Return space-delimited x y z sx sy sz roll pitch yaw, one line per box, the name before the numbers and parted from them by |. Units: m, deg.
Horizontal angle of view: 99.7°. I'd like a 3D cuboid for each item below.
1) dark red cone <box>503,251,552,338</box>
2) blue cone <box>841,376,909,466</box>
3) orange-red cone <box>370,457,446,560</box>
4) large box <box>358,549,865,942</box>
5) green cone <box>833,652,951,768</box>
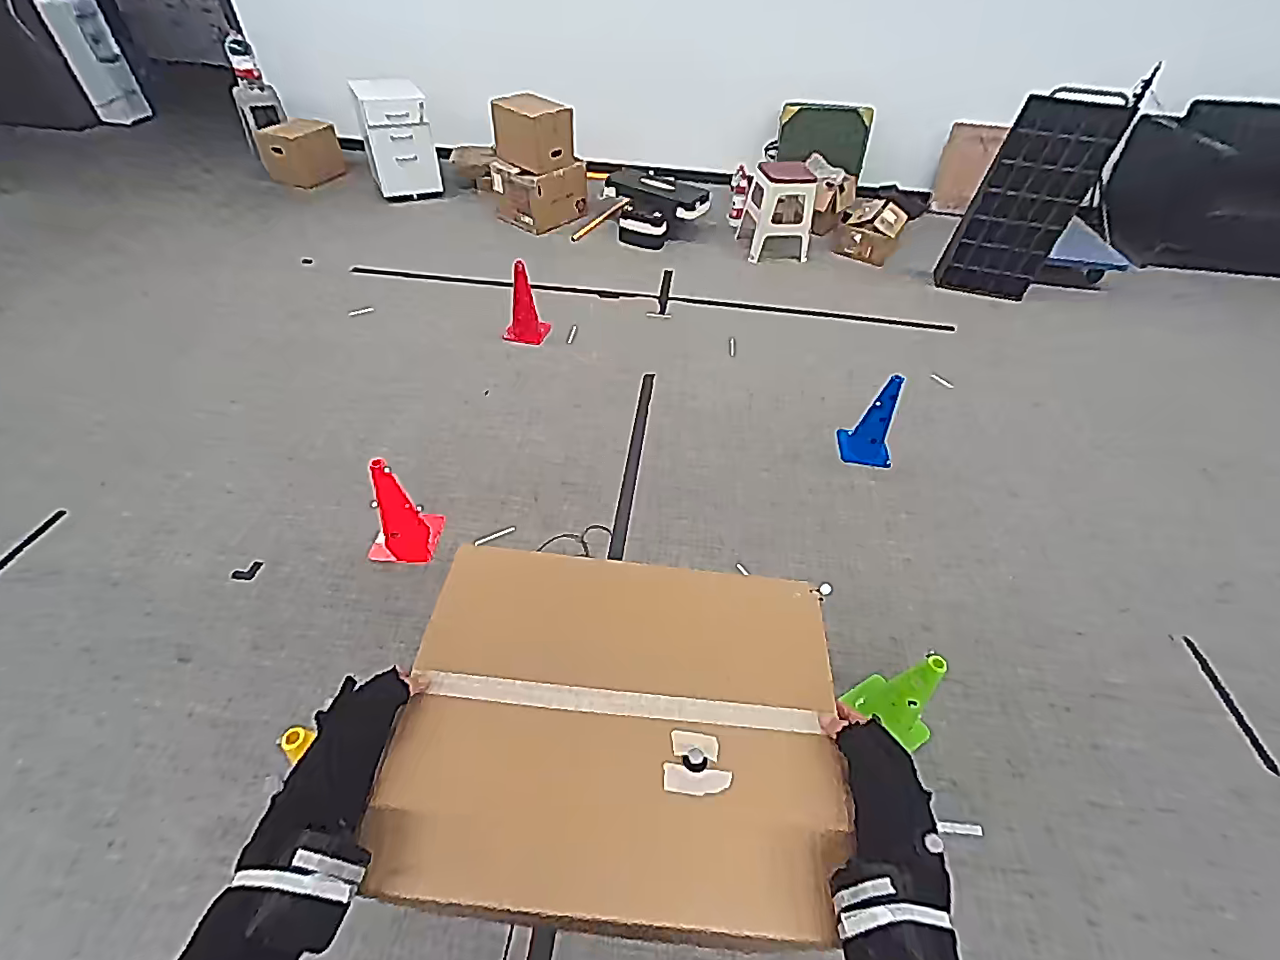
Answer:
dark red cone | -0.541 -0.878 2.545 0.201 0.394 0.202 12 47 5
blue cone | 0.946 -0.245 2.120 0.192 0.380 0.193 10 47 3
orange-red cone | -0.760 0.065 1.677 0.198 0.360 0.199 4 48 1
large box | -0.024 0.310 0.623 0.408 0.320 0.320 7 49 0
green cone | 0.667 0.532 1.346 0.202 0.368 0.200 -21 53 -24
